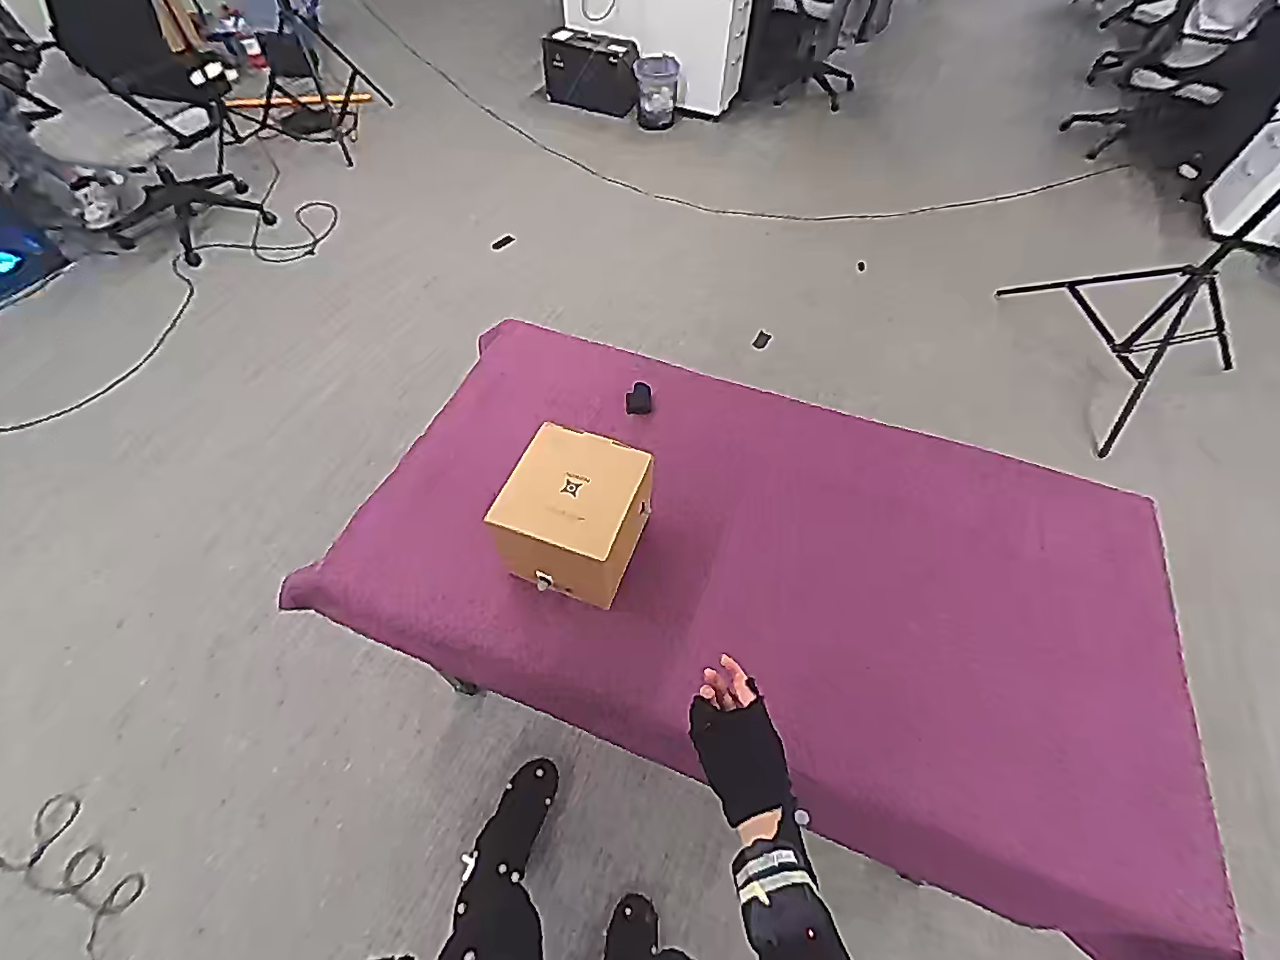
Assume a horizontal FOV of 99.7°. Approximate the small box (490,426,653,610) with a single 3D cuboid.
[{"bbox_3d":[-0.088,0.057,0.773,0.168,0.176,0.179,16,57,10],"label":"small box"}]
